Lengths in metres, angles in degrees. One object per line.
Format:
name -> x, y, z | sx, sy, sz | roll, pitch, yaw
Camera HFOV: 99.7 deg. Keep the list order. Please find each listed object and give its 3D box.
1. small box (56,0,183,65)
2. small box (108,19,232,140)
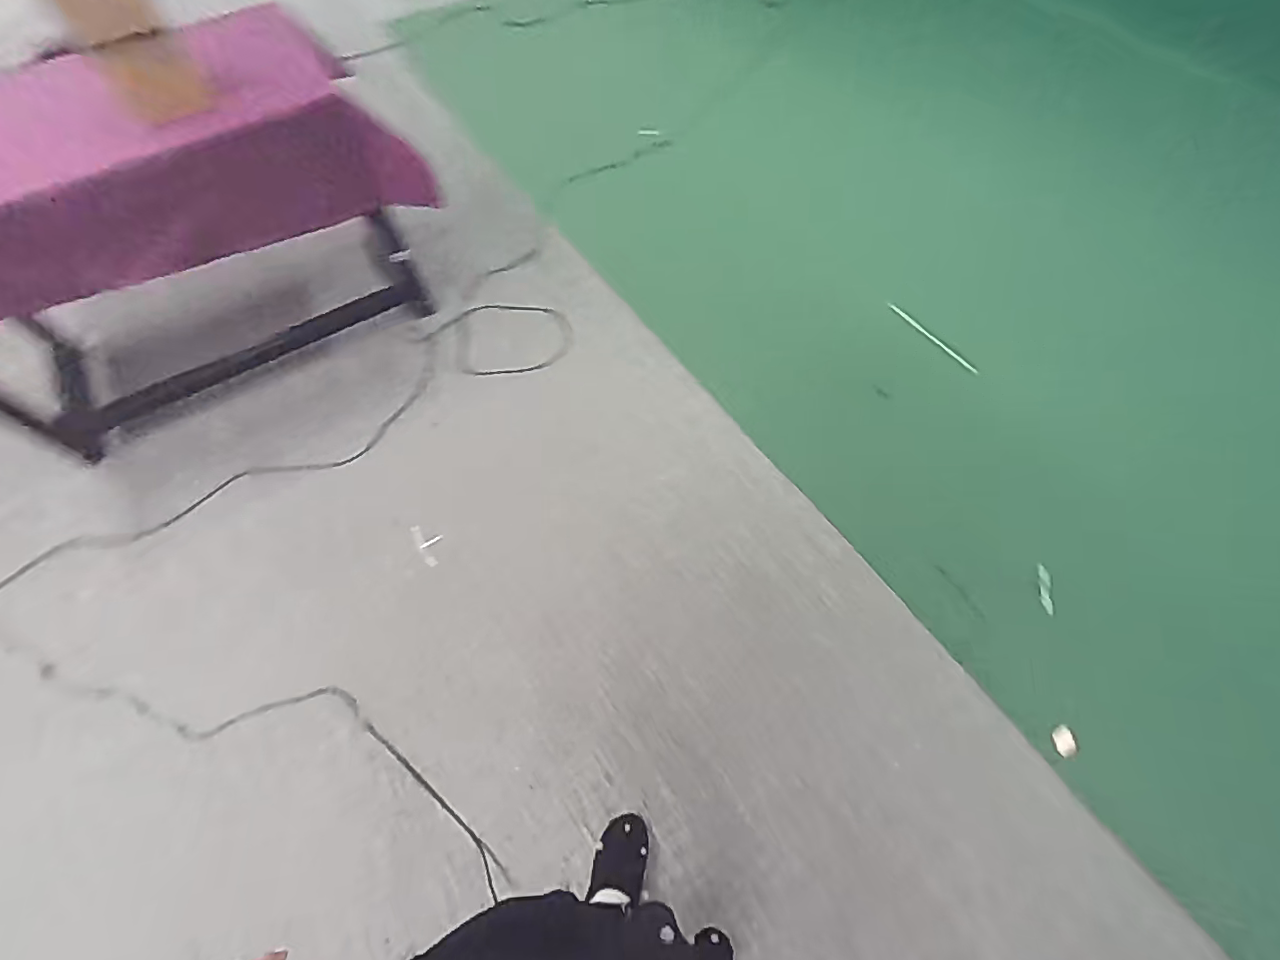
small box -> -1.111, -1.020, 1.138 | 0.179, 0.176, 0.168 | -30, 63, -15
small box -> -1.117, -0.951, 1.286 | 0.179, 0.176, 0.168 | -32, 64, -16
